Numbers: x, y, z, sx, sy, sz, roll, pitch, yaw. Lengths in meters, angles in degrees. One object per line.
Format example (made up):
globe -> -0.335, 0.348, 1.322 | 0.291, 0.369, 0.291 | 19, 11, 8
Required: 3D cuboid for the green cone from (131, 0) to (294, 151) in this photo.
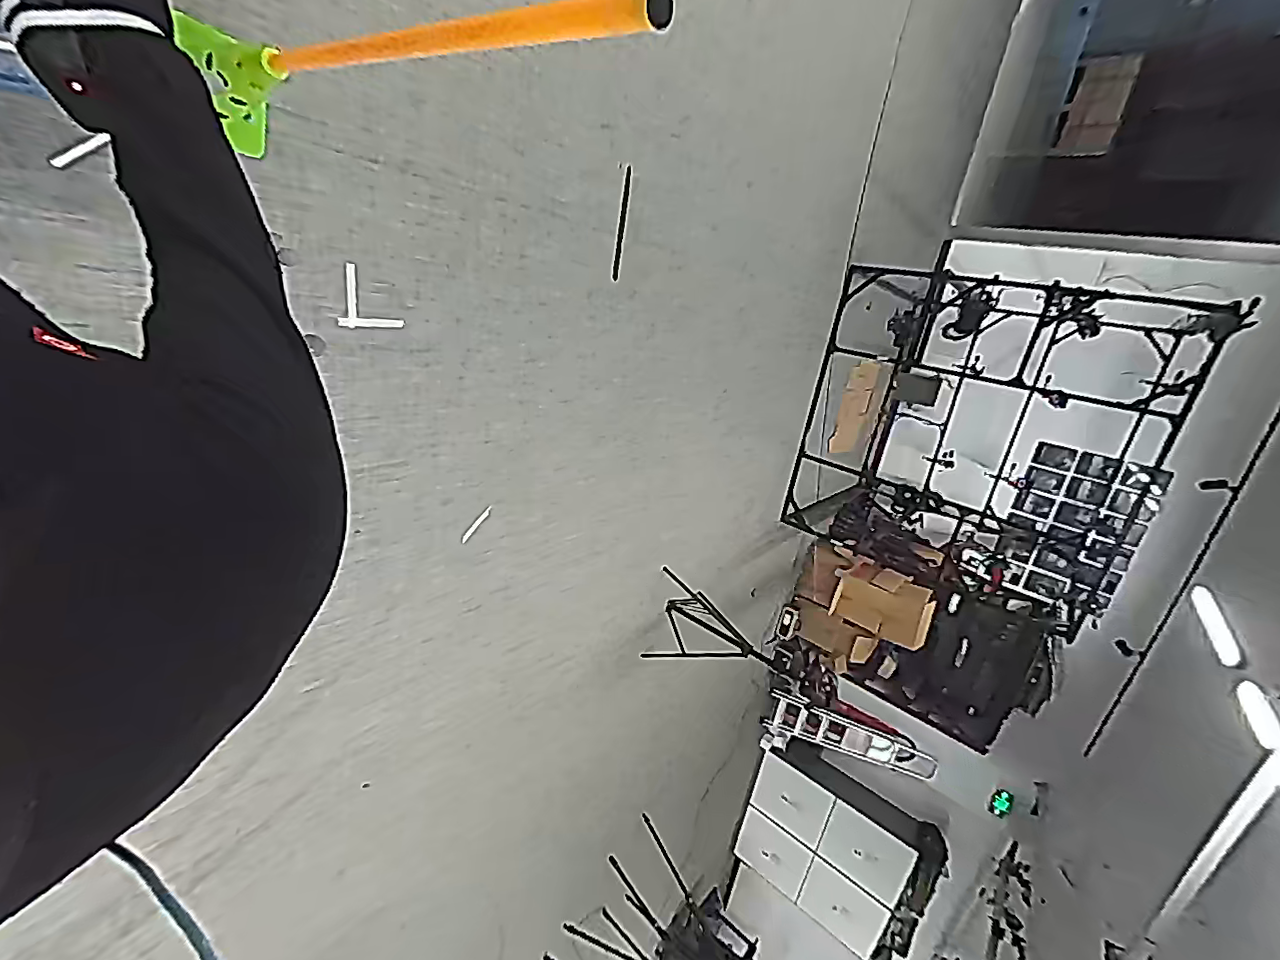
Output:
green cone -> -0.718, -0.722, 0.957 | 0.202, 0.368, 0.200 | -9, 116, -54
